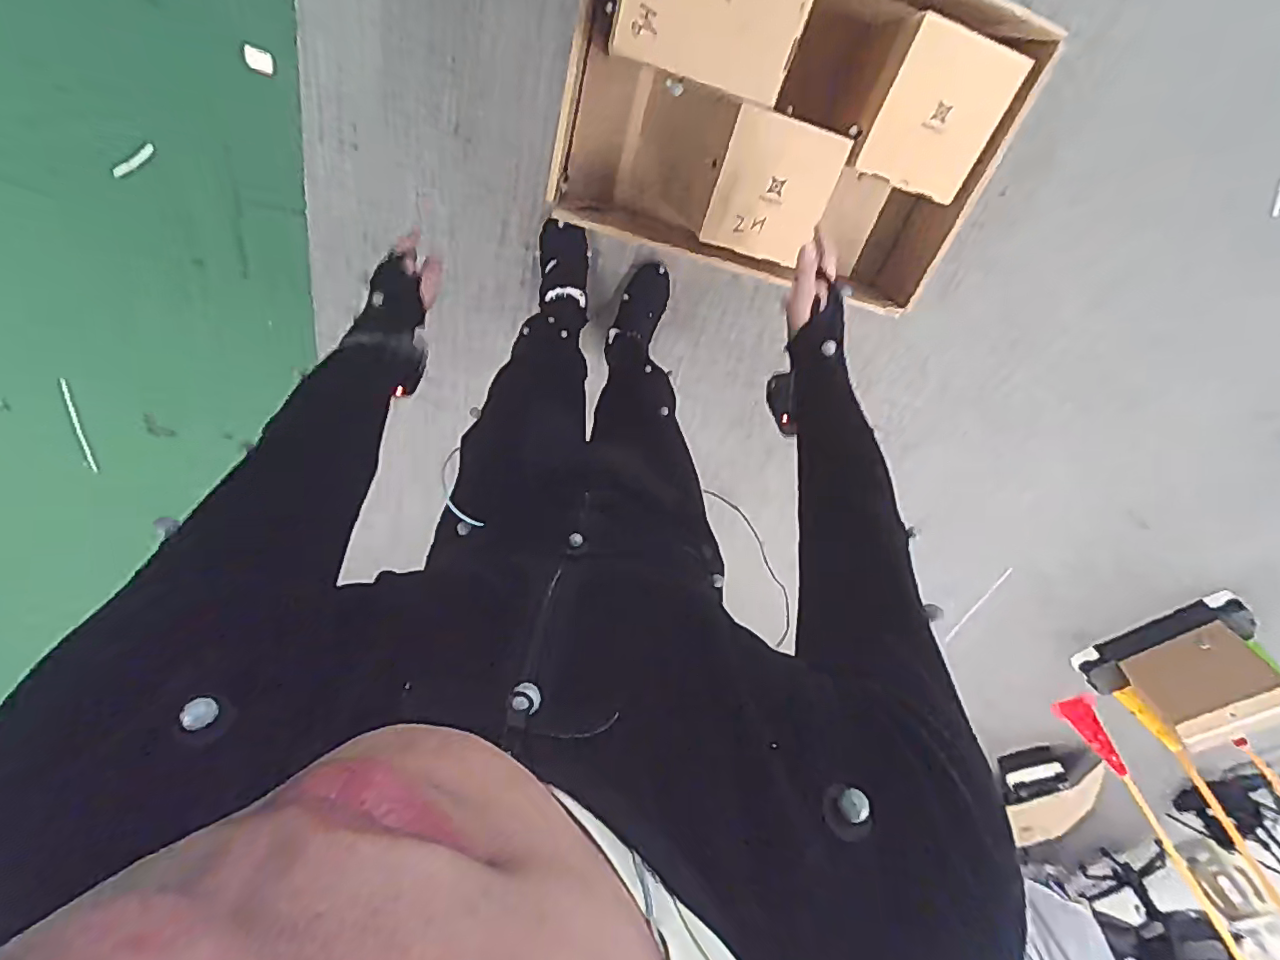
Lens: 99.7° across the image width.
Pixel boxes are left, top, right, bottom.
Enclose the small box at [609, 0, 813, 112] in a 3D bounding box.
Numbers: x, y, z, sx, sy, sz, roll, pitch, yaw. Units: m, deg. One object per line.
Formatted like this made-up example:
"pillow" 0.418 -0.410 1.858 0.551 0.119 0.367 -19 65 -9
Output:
"small box" 0.072 -0.511 0.562 0.179 0.176 0.168 10 125 -13
